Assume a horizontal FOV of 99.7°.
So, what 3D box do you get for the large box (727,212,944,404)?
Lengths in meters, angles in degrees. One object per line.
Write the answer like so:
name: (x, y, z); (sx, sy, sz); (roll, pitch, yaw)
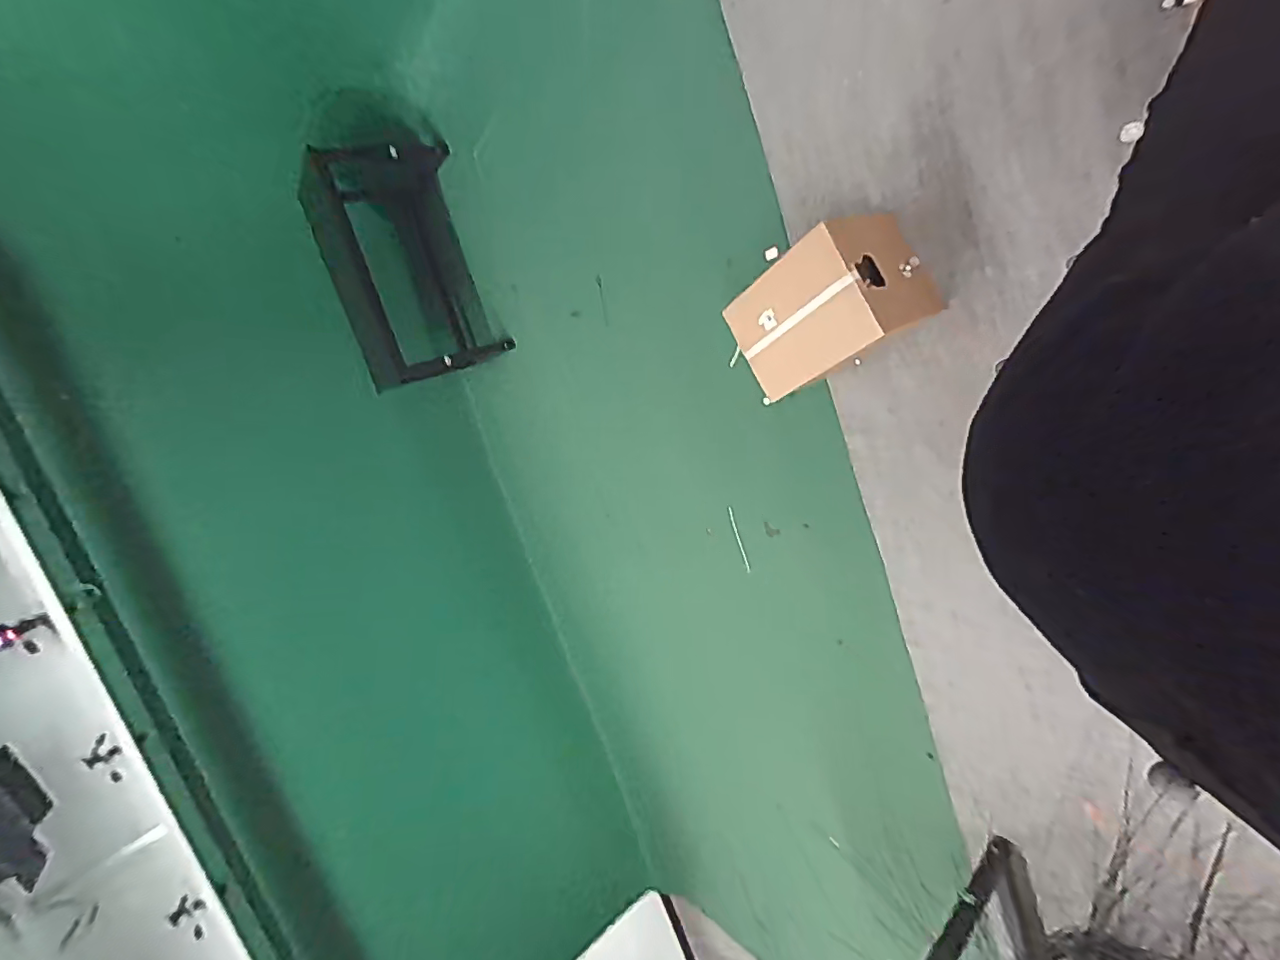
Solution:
large box: (0.527, -0.467, 1.502); (0.408, 0.320, 0.320); (-32, 83, 58)
